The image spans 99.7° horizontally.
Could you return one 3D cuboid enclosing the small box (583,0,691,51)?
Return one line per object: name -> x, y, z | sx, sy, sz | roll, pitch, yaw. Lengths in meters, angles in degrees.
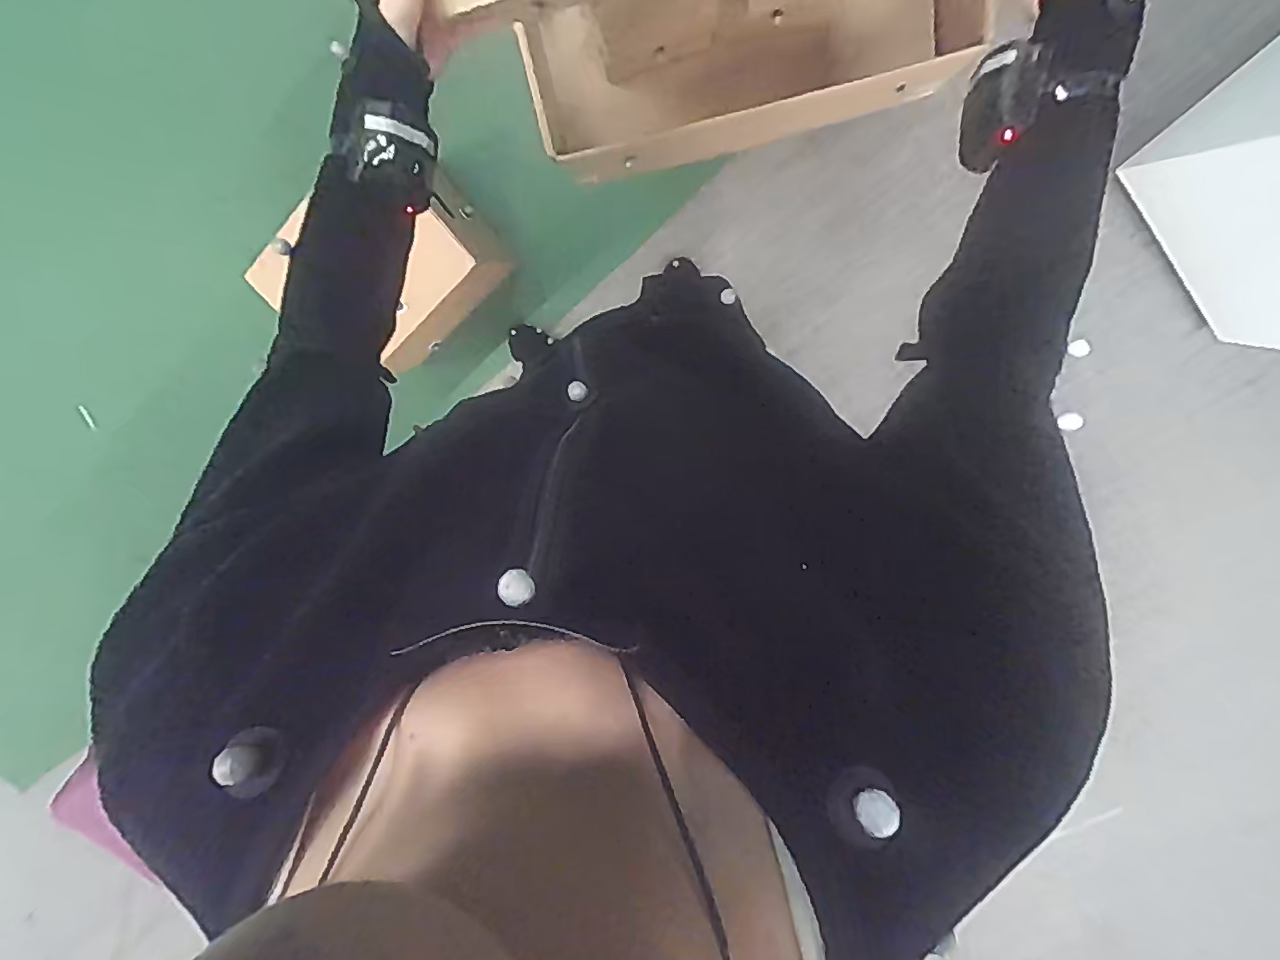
small box -> -0.006, -0.631, 0.592 | 0.179, 0.176, 0.168 | -26, 107, 13
